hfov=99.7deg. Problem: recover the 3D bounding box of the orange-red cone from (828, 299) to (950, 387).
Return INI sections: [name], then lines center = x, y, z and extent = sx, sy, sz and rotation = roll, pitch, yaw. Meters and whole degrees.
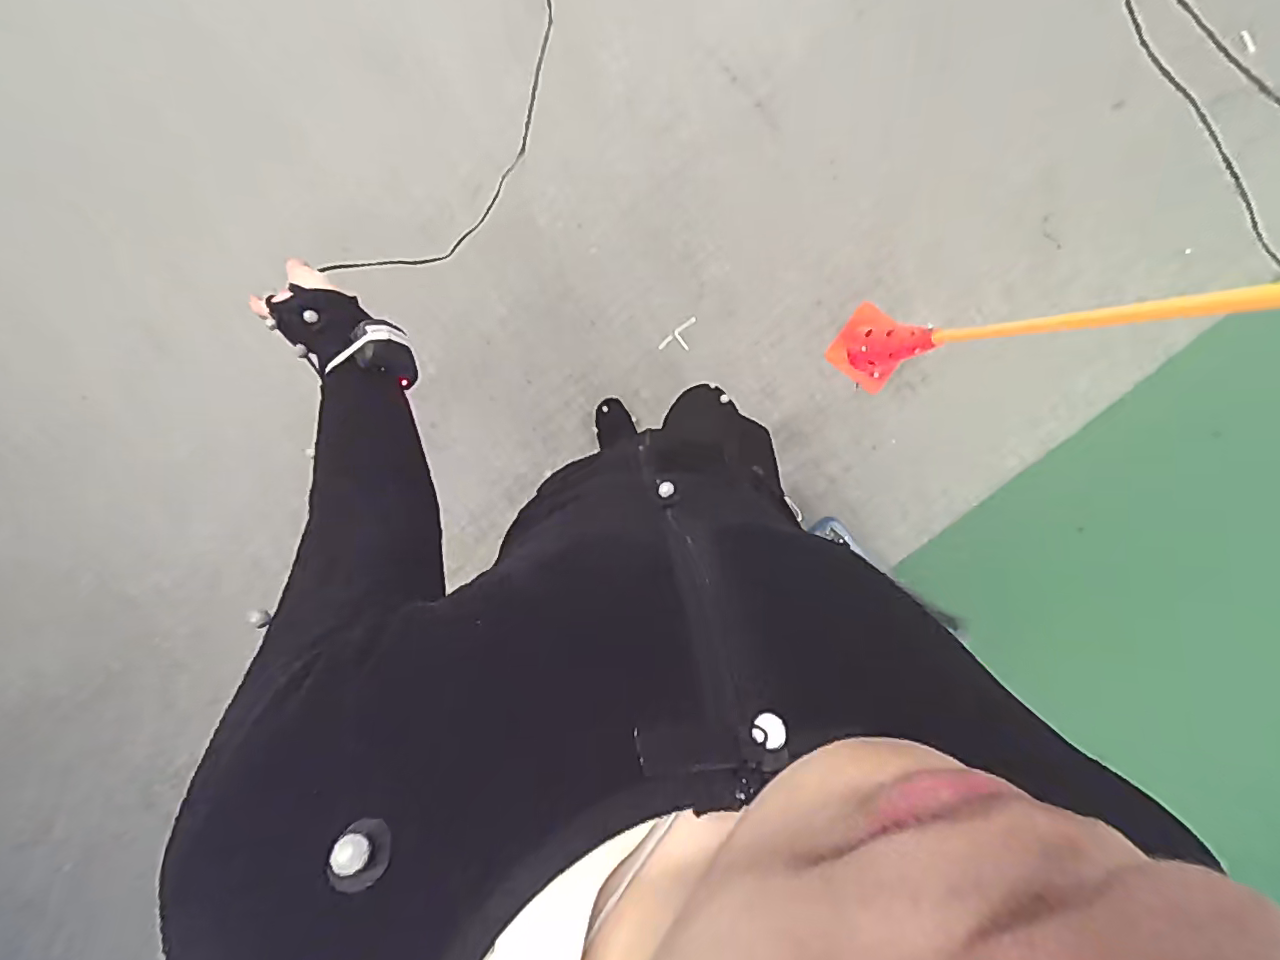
[orange-red cone]
center = 0.677, -0.367, 1.399
extent = 0.198, 0.360, 0.199
rotation = 35, 96, -9
